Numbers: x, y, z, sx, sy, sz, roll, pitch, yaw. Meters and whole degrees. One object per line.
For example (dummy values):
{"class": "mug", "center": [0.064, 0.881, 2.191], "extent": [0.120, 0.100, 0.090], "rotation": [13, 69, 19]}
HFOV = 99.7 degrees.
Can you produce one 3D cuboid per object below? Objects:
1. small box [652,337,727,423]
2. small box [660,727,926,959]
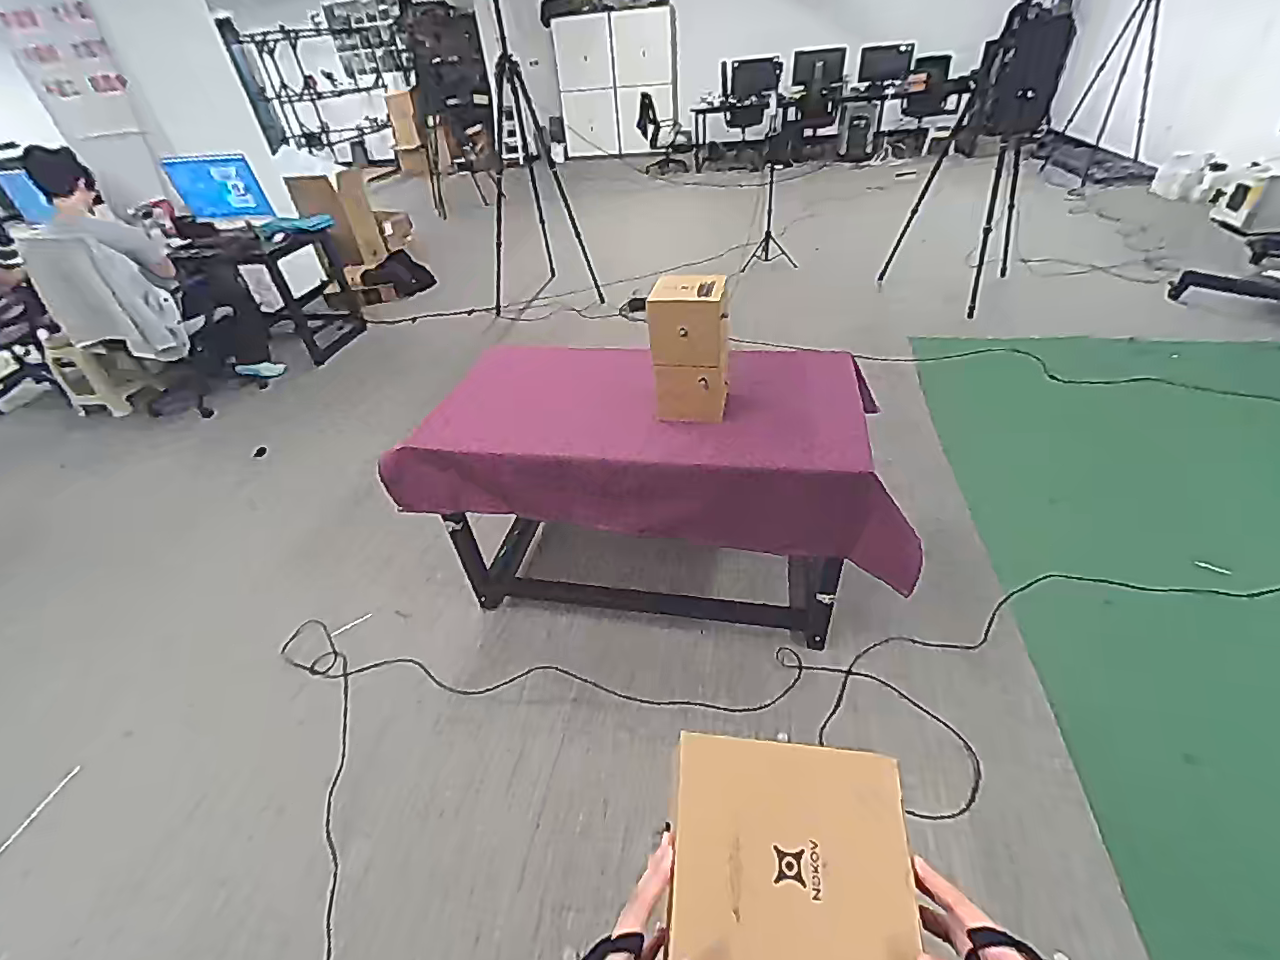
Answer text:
{"class": "small box", "center": [0.137, -0.267, 1.450], "extent": [0.179, 0.176, 0.168], "rotation": [4, 40, 13]}
{"class": "small box", "center": [0.113, 0.323, 0.463], "extent": [0.179, 0.176, 0.168], "rotation": [5, 55, 4]}
